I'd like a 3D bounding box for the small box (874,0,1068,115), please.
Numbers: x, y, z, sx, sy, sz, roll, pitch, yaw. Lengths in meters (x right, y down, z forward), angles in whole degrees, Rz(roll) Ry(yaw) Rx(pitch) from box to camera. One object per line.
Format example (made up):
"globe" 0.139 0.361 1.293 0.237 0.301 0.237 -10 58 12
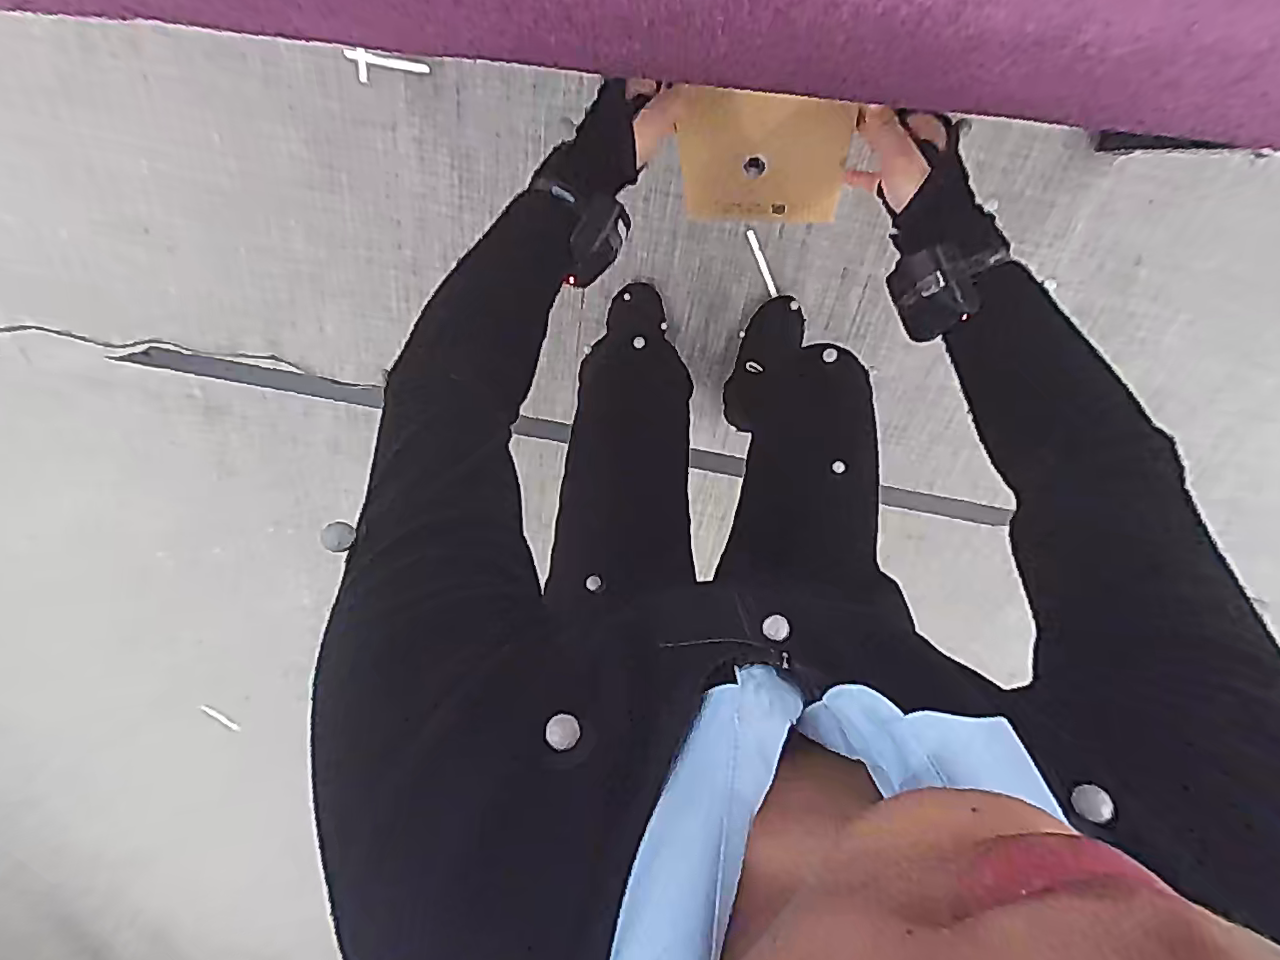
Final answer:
"small box" 0.445 -0.622 0.741 0.168 0.176 0.179 12 120 -3
